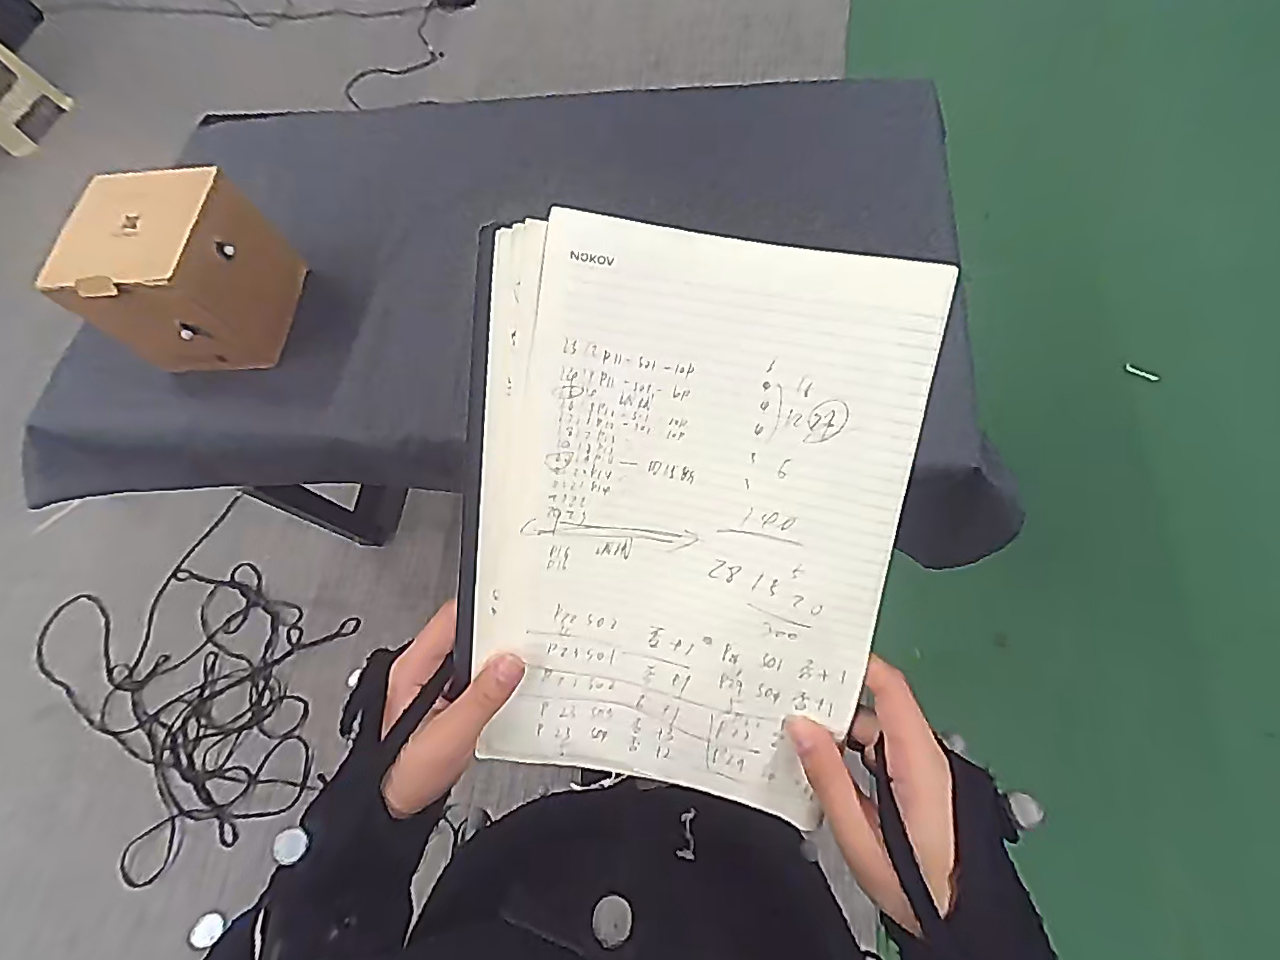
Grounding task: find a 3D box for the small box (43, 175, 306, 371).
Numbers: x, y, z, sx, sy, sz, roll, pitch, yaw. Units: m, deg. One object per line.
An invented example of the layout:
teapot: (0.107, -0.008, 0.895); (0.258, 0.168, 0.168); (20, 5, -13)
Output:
small box: (-0.571, -0.252, 0.695); (0.168, 0.176, 0.179); (-1, 66, 5)
